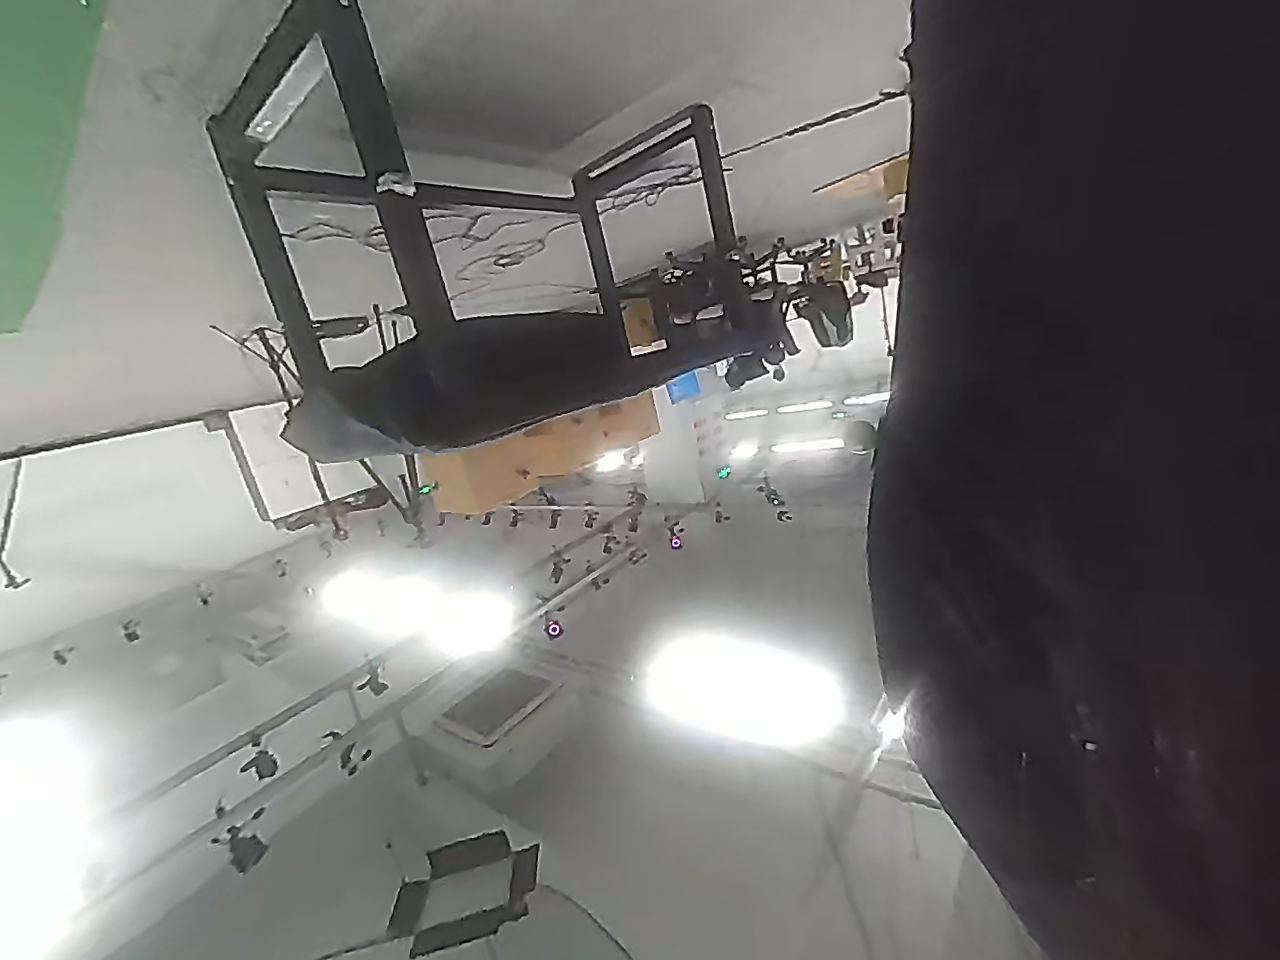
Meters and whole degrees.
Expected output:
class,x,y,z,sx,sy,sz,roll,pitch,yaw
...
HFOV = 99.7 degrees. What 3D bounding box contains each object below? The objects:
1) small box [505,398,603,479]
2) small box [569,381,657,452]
class,x,y,z,sx,sy,sz,roll,pitch,yaw
small box,-0.223,-0.108,1.378,0.179,0.176,0.168,-2,-163,39
small box,-0.080,-0.185,1.558,0.179,0.176,0.168,-2,-163,37
